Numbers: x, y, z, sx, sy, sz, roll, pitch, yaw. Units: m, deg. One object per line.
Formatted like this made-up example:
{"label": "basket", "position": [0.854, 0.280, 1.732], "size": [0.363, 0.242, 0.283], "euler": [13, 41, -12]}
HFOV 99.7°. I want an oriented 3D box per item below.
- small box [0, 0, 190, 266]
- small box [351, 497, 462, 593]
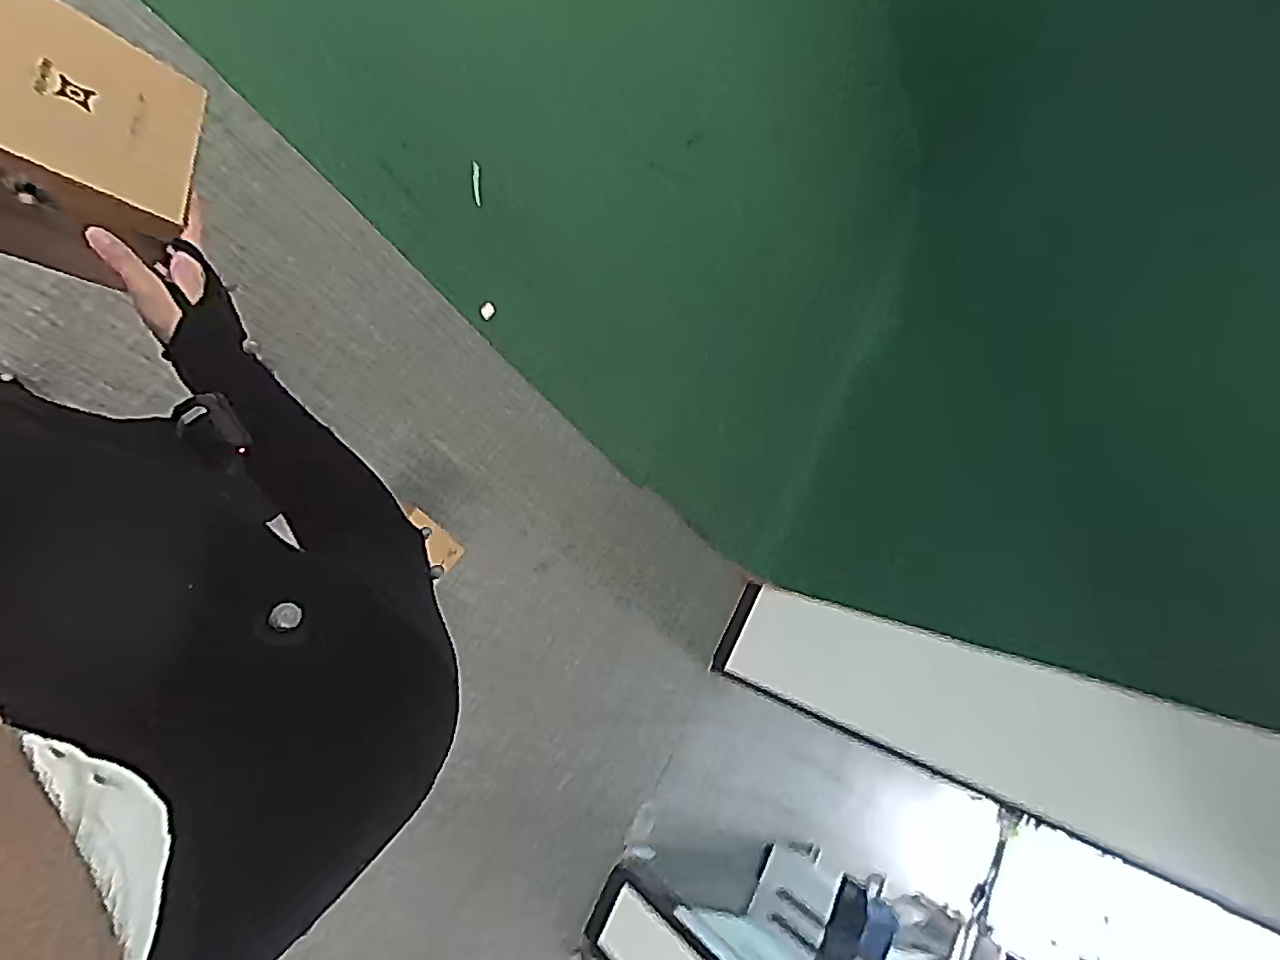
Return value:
{"label": "small box", "position": [-0.551, -0.326, 0.486], "size": [0.179, 0.176, 0.168], "euler": [16, 65, -52]}
{"label": "small box", "position": [-0.600, 0.158, 1.381], "size": [0.168, 0.176, 0.179], "euler": [-52, 125, -23]}
